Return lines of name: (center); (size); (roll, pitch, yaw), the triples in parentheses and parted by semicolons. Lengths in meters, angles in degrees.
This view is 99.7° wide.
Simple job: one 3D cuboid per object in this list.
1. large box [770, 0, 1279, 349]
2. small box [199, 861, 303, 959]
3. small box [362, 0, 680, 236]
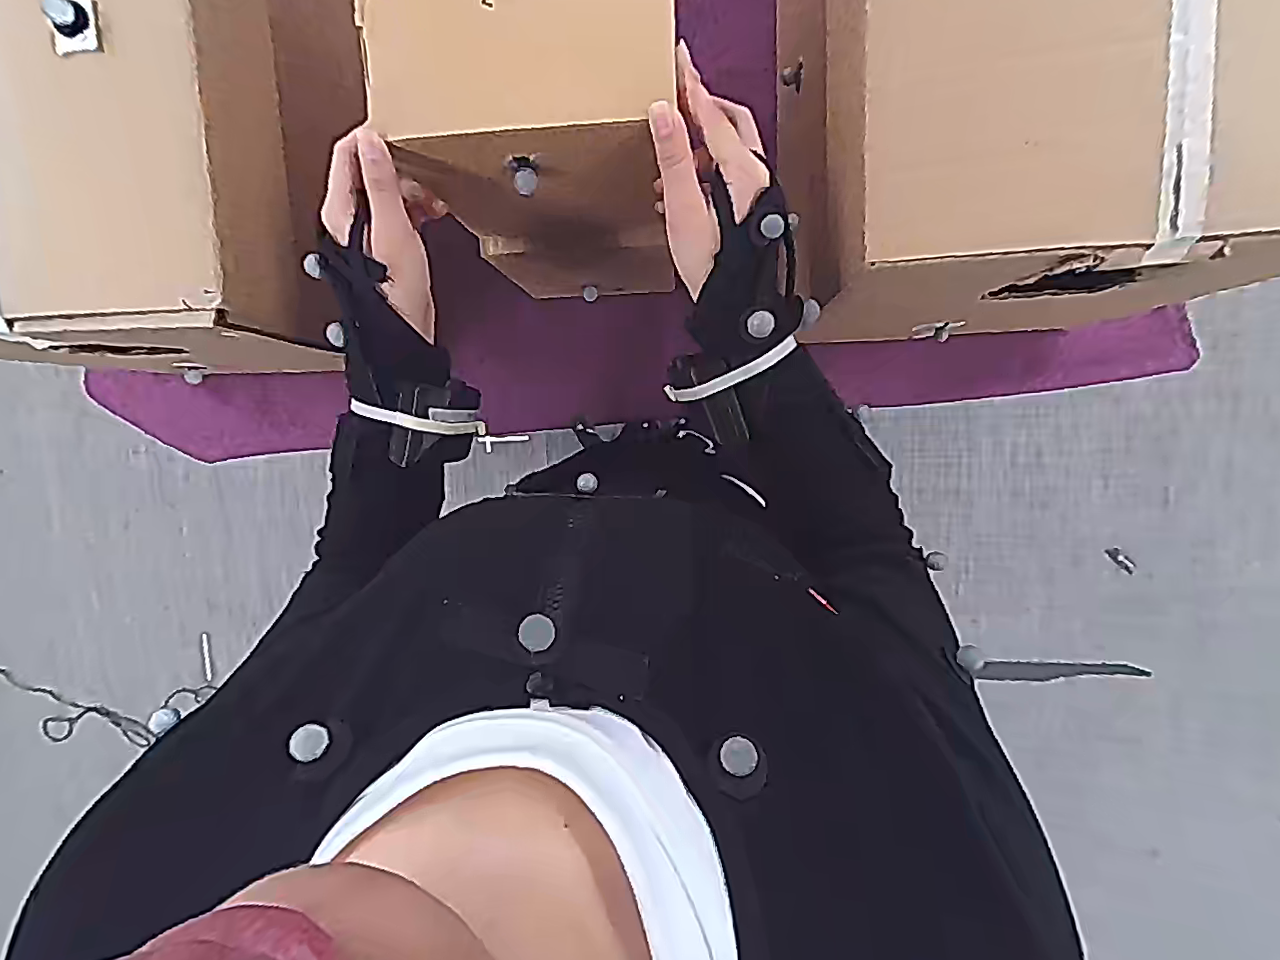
large box: (0.282, -0.337, 0.428); (0.320, 0.320, 0.408); (-2, 95, 5)
small box: (-1.091, 1.220, 1.534); (0.179, 0.176, 0.168); (-3, 96, 6)
small box: (-0.061, -0.281, 0.369); (0.179, 0.176, 0.168); (-1, 96, 6)
